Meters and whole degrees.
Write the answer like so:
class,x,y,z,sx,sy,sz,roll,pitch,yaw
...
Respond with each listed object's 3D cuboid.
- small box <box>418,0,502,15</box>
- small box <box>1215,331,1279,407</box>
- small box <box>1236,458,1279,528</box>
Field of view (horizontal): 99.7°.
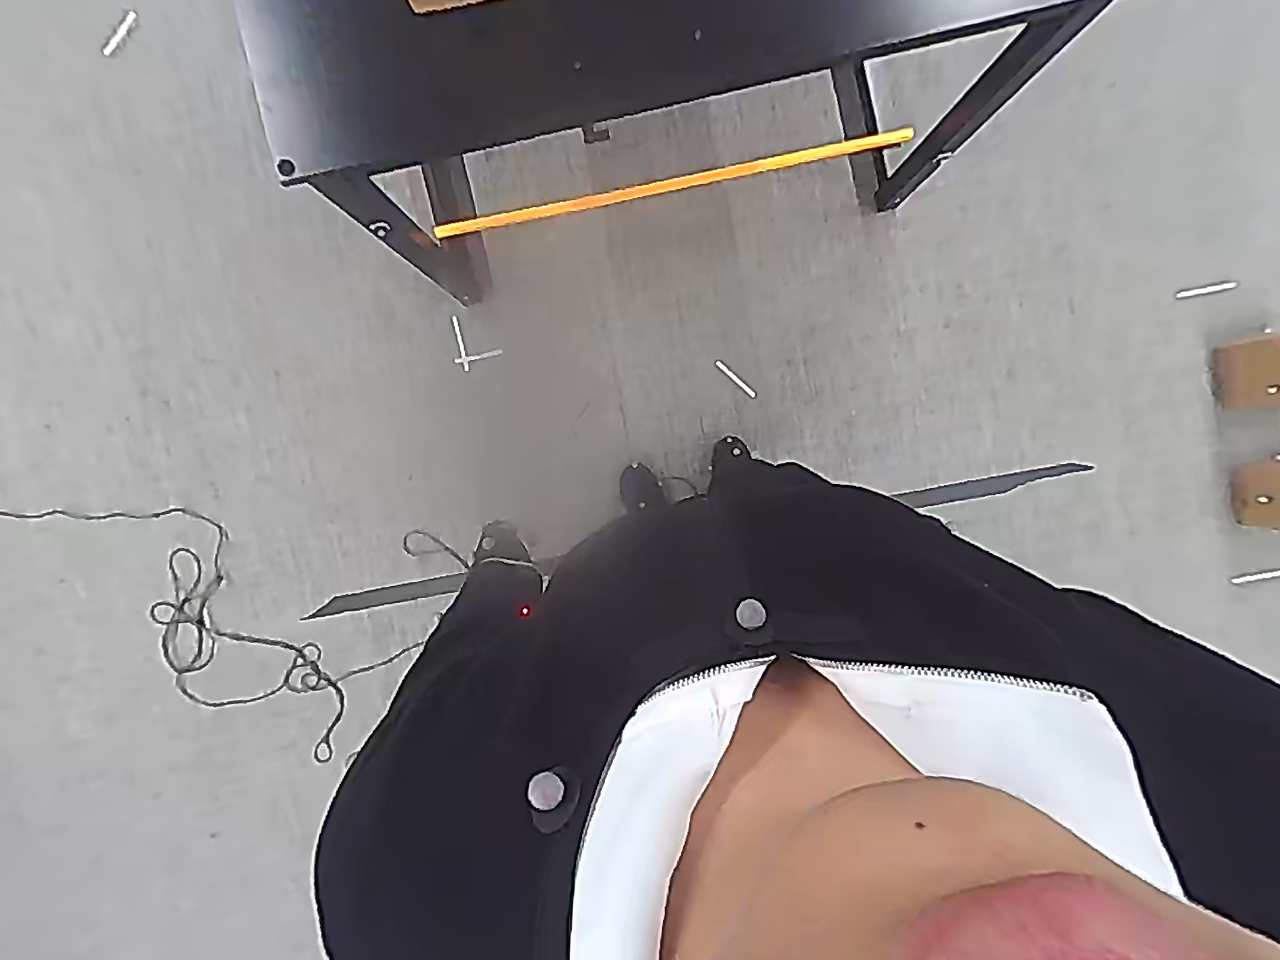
class,x,y,z,sx,sy,sz,roll,pitch,yaw
small box,-0.232,-0.713,0.636,0.168,0.176,0.179,-12,94,2
small box,1.637,-0.287,1.375,0.168,0.176,0.179,-14,93,1
small box,1.710,0.032,1.400,0.179,0.176,0.168,-10,94,2
